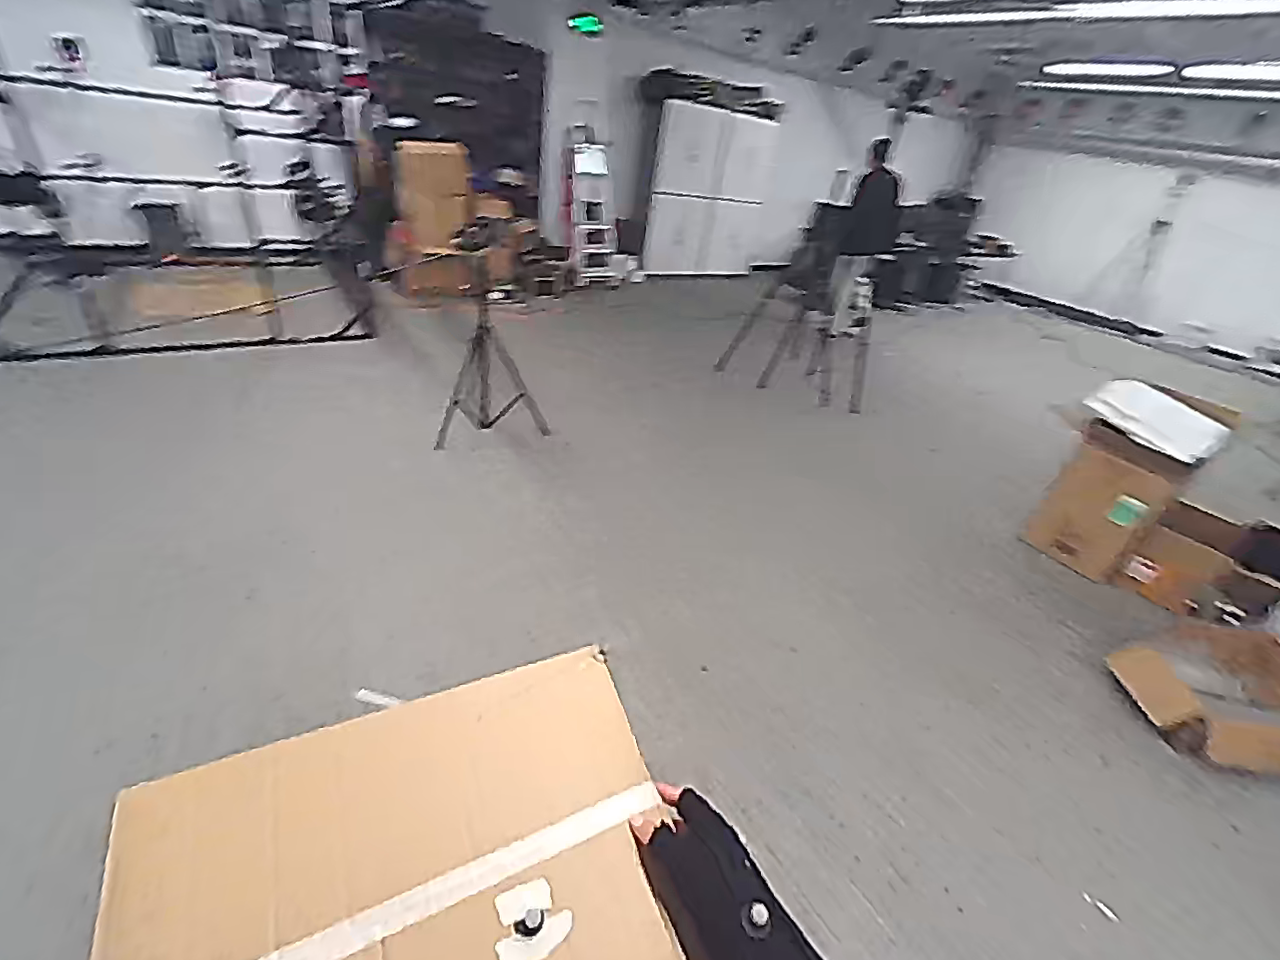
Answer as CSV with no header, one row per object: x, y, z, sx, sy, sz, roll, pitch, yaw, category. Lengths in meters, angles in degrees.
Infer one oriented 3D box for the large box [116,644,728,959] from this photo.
-0.198,0.426,0.530,0.408,0.320,0.320,-10,52,-28,large box
